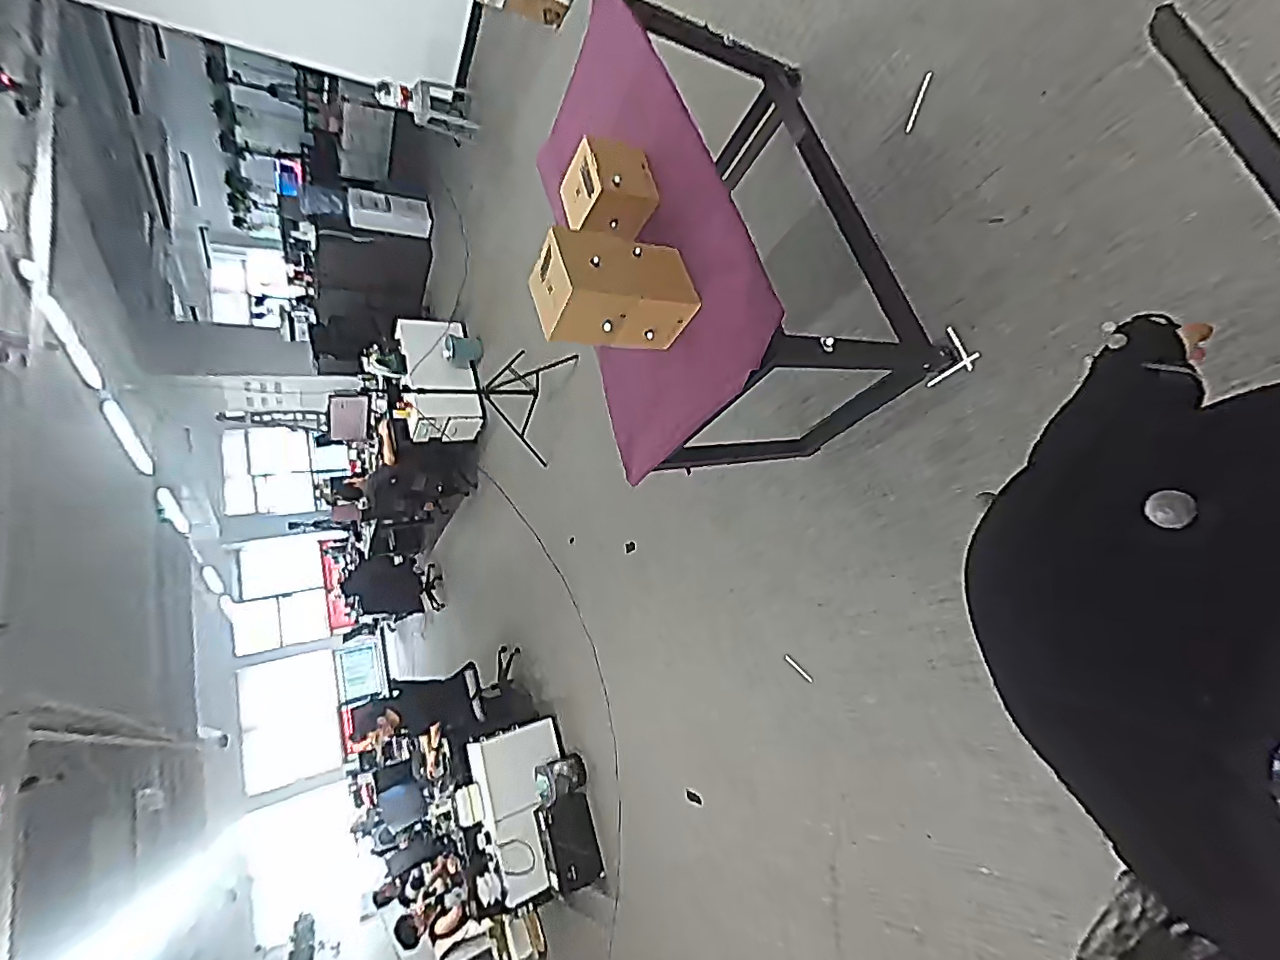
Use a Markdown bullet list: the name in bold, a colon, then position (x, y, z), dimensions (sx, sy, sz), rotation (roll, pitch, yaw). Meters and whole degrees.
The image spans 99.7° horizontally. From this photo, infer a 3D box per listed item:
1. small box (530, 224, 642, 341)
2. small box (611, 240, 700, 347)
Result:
- **small box**: position (-0.120, -0.424, 1.191), dimensions (0.168, 0.176, 0.179), rotation (-45, 58, 51)
- **small box**: position (0.016, -0.435, 1.282), dimensions (0.168, 0.176, 0.179), rotation (-45, 58, 51)
